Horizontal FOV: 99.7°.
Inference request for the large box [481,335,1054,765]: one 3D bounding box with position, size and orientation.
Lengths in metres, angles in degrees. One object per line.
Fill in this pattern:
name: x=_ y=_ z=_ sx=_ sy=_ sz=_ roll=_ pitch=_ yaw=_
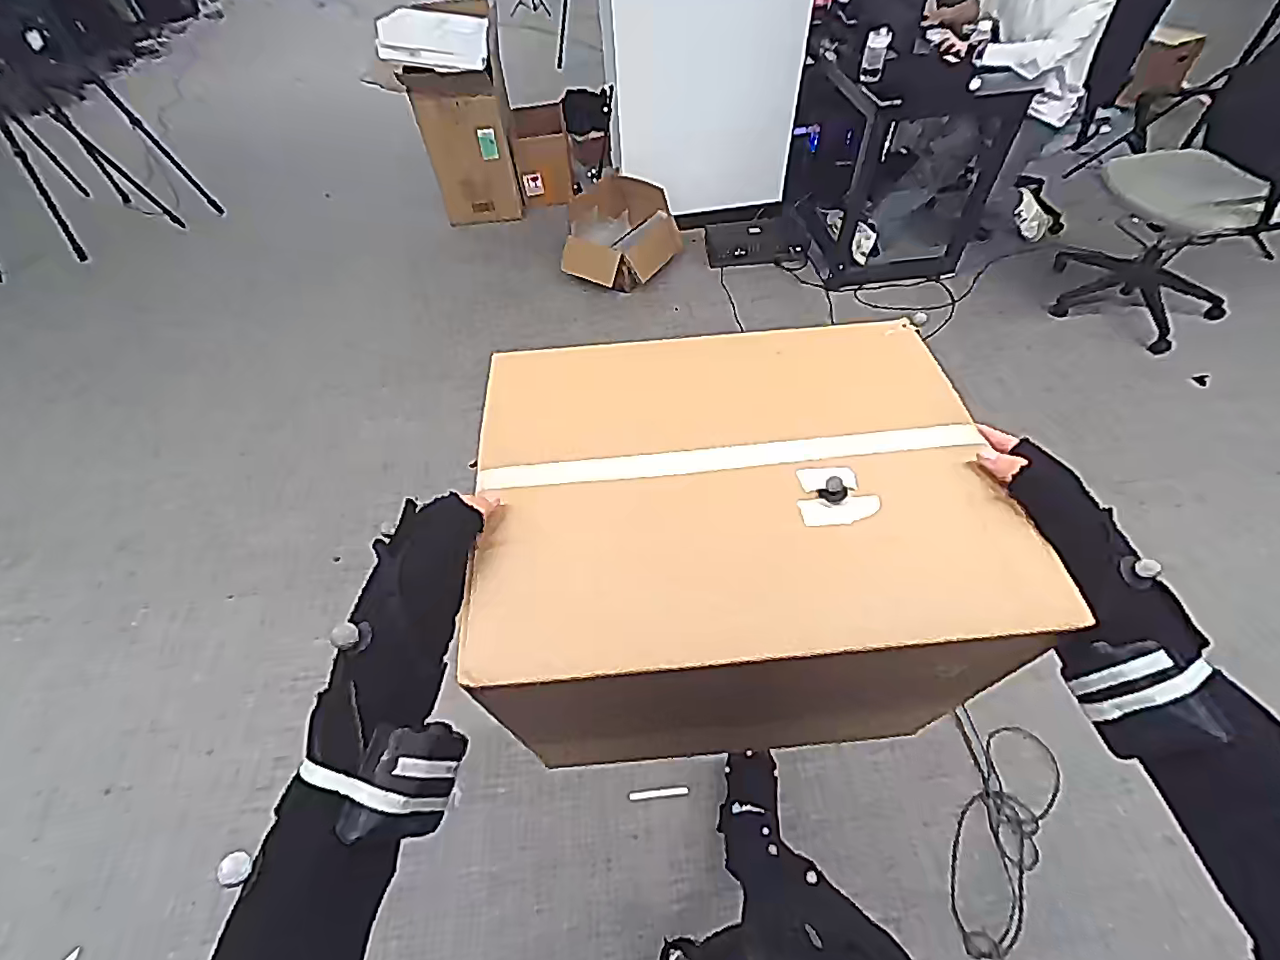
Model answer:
large box: x=0.079 y=0.082 z=0.570 sx=0.408 sy=0.320 sz=0.320 roll=-5 pitch=53 yaw=-2
